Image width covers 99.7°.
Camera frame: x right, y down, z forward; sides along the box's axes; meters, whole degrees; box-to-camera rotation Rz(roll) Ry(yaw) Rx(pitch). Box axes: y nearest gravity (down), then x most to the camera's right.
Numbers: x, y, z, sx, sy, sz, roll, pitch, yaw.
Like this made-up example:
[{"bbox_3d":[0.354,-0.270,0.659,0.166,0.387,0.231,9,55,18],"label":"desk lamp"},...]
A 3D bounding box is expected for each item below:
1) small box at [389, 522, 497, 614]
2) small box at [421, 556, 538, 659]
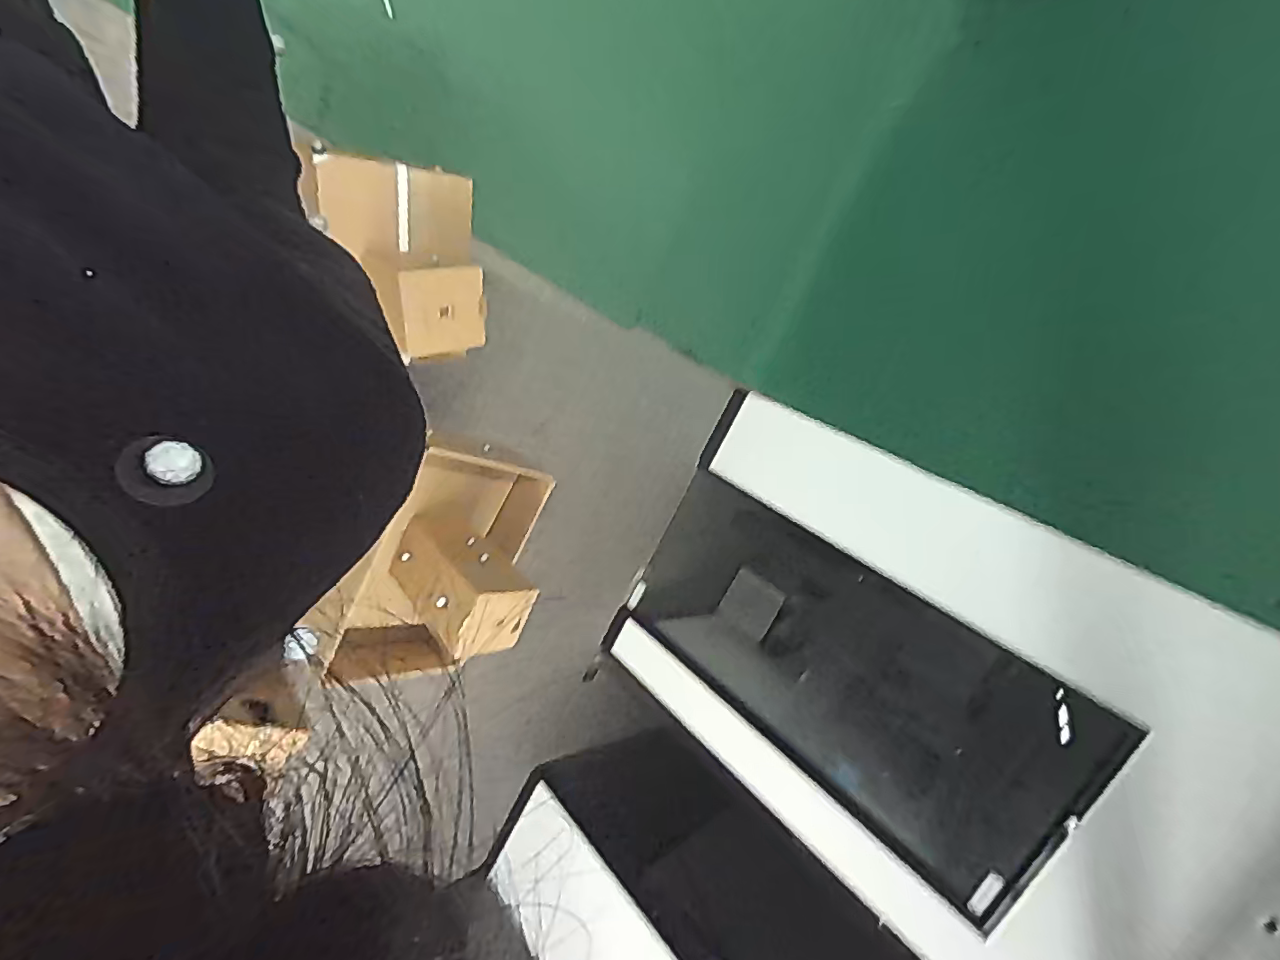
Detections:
[{"bbox_3d":[-0.491,0.218,1.357,0.179,0.176,0.168,15,105,-54],"label":"small box"},{"bbox_3d":[-0.378,0.289,1.262,0.179,0.176,0.168,11,109,-52],"label":"small box"}]
